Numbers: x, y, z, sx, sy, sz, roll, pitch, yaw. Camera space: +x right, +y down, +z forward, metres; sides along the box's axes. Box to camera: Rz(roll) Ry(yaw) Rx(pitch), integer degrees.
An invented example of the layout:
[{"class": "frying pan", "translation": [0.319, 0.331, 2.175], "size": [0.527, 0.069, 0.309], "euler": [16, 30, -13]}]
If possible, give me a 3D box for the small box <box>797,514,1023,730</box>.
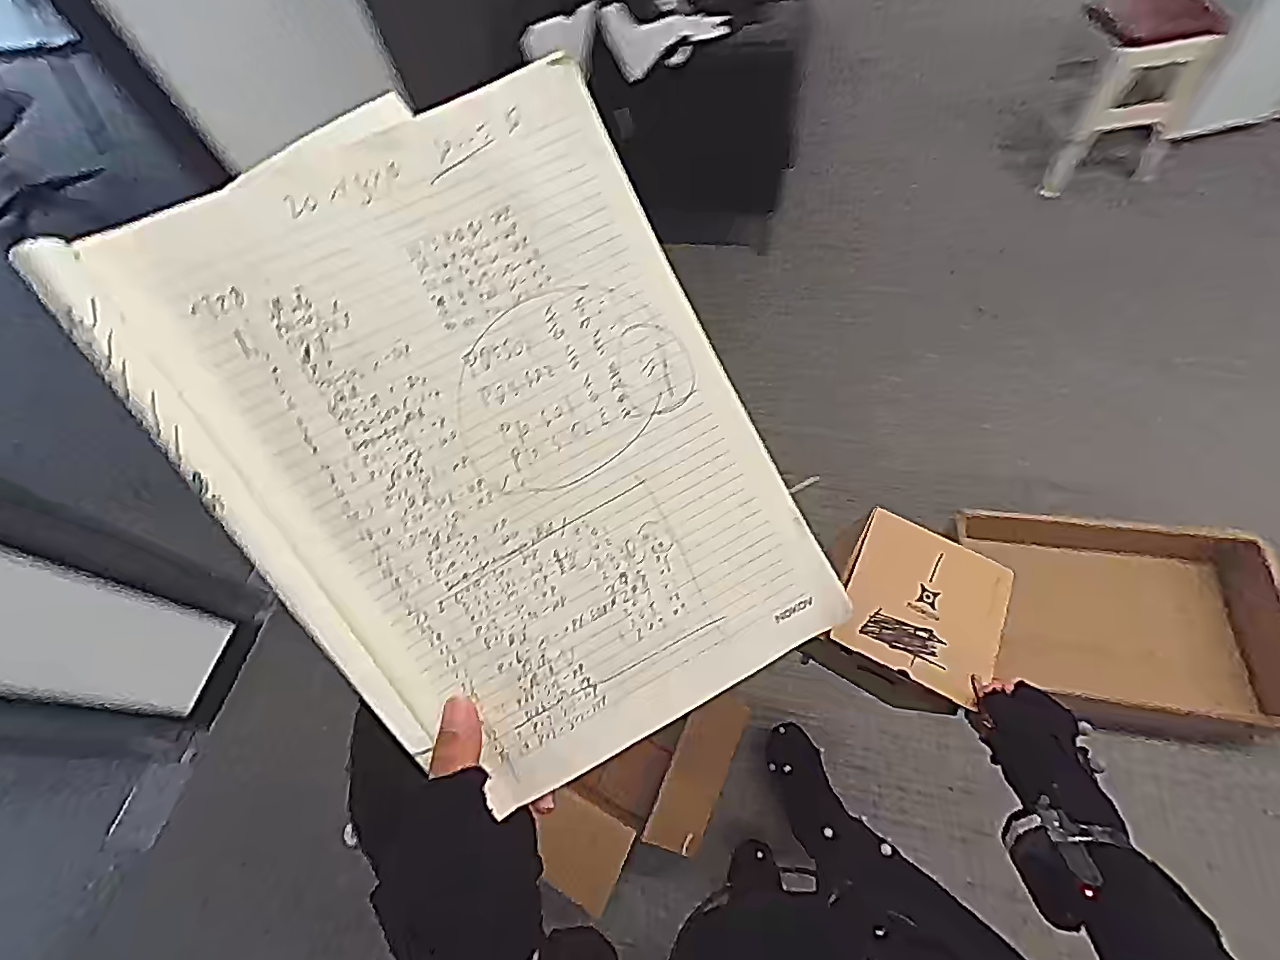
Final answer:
[{"class": "small box", "translation": [0.312, 0.174, 0.665], "size": [0.168, 0.176, 0.179], "euler": [31, 74, 11]}]
